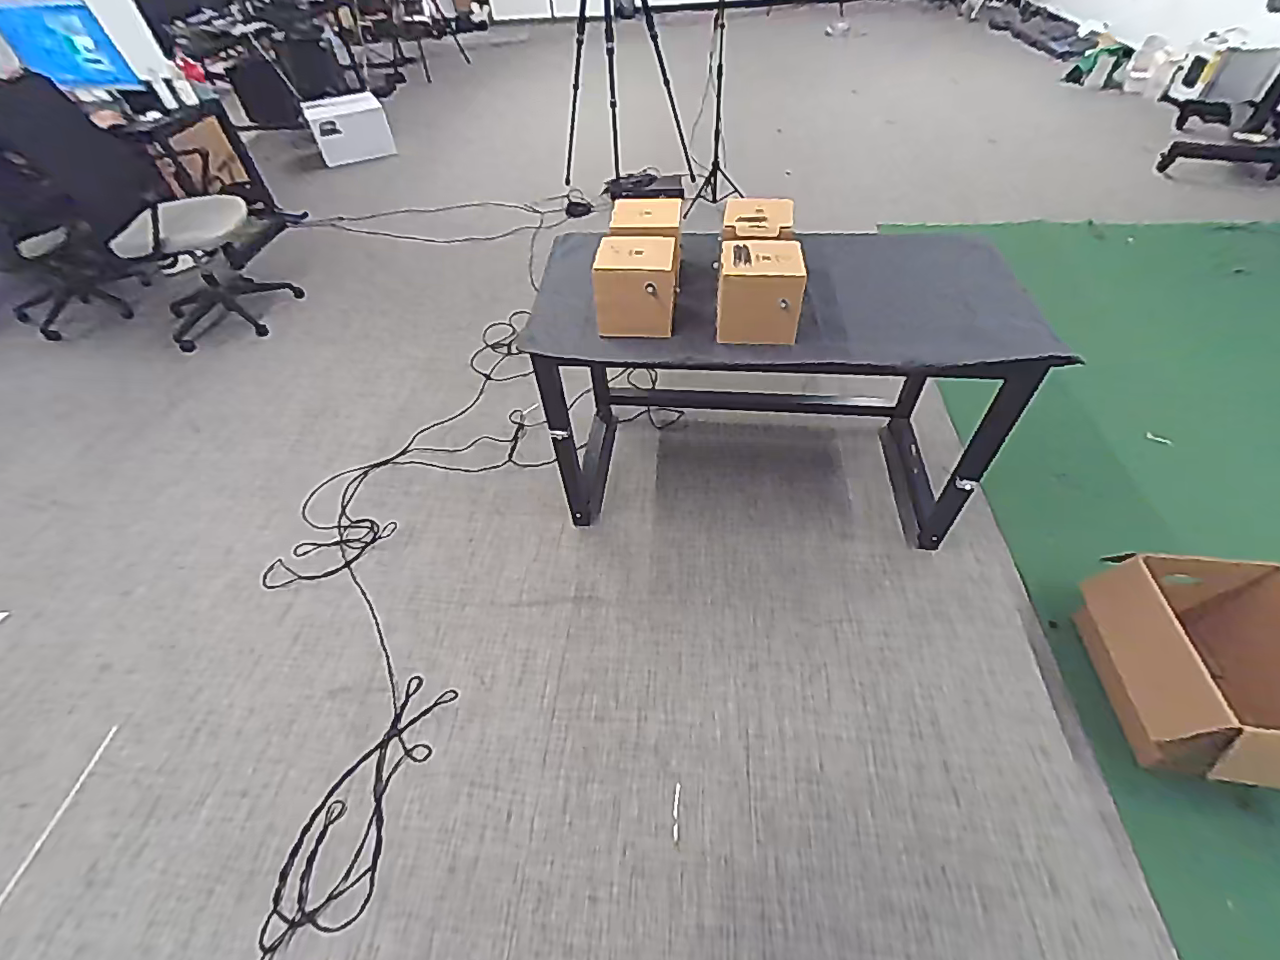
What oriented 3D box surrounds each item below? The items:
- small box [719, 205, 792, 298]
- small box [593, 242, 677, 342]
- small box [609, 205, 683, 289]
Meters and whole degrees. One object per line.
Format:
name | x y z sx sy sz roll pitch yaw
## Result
small box | 0.296 -0.586 1.390 0.168 0.176 0.179 6 48 9
small box | -0.006 -0.441 1.277 0.179 0.176 0.168 3 47 6
small box | 0.021 -0.604 1.428 0.179 0.176 0.168 1 49 6
